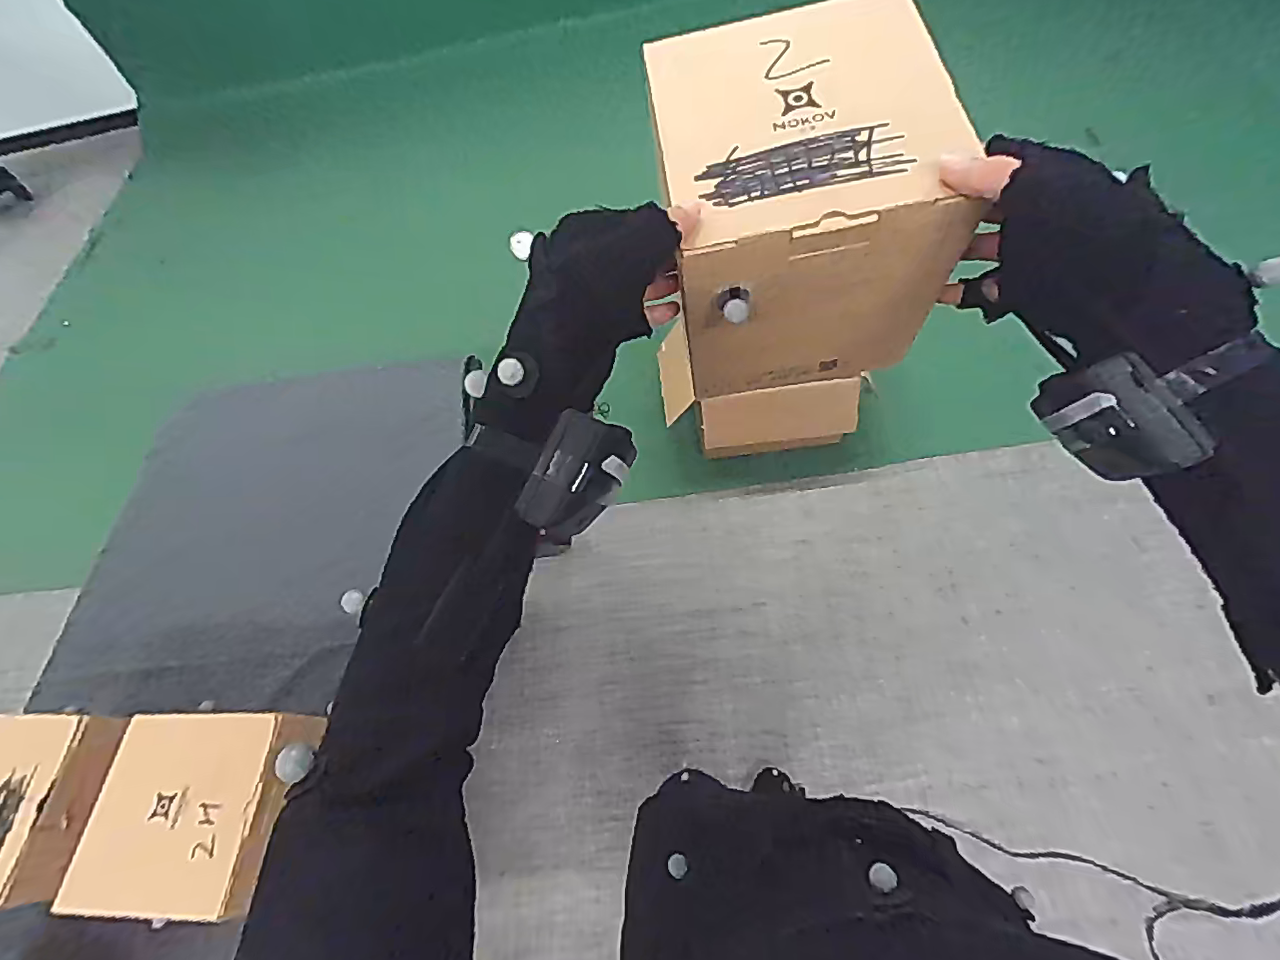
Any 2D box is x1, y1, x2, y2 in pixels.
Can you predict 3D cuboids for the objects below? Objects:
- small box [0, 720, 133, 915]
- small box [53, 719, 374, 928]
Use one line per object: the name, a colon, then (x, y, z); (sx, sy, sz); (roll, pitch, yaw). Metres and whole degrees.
small box: (-0.655, 0.367, 0.610); (0.179, 0.176, 0.168); (-3, 61, 7)
small box: (-0.428, 0.354, 0.579); (0.179, 0.176, 0.168); (-4, 61, 8)
